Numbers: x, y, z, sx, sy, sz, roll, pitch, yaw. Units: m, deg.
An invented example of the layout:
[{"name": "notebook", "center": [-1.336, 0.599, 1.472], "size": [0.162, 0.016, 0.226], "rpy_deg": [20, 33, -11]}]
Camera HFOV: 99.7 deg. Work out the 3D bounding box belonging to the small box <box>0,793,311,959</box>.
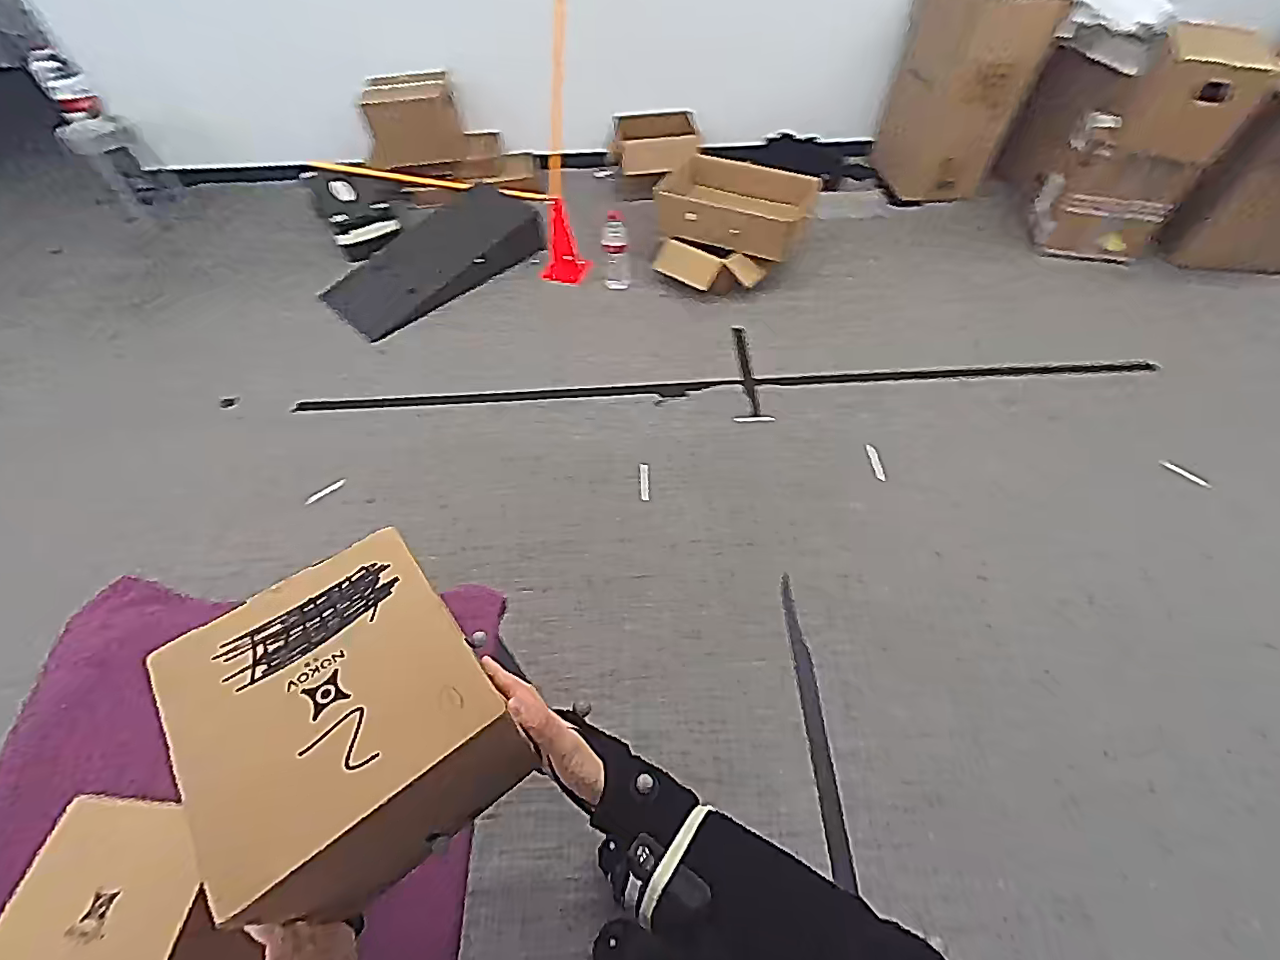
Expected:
[{"name": "small box", "center": [-0.466, 0.425, 0.532], "size": [0.168, 0.176, 0.179], "rpy_deg": [2, 54, 5]}]
